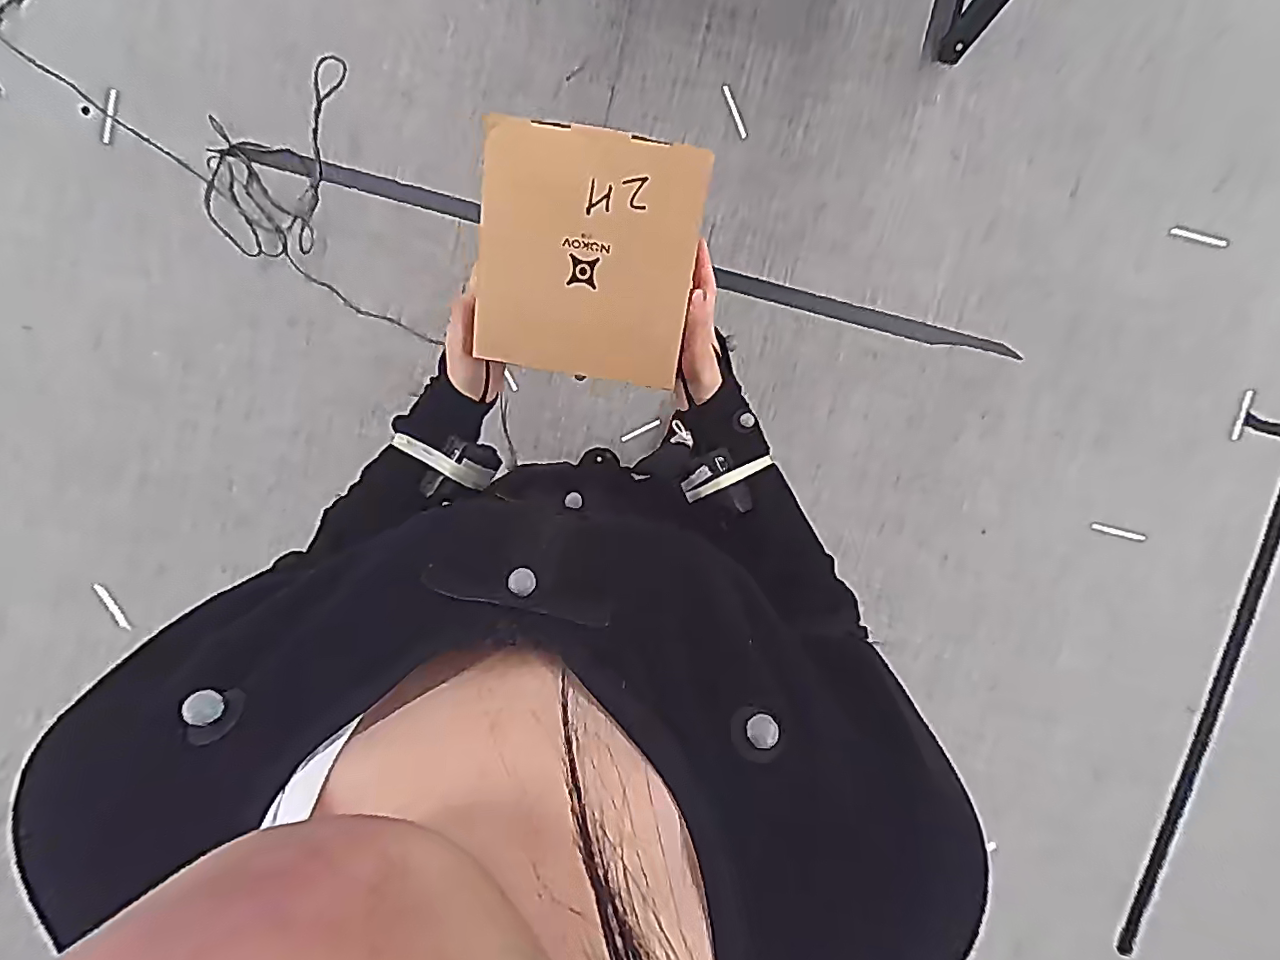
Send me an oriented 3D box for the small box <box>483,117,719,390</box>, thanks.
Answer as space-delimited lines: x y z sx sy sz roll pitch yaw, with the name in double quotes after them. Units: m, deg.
-0.031 -0.191 0.493 0.168 0.176 0.179 10 107 -1 "small box"
